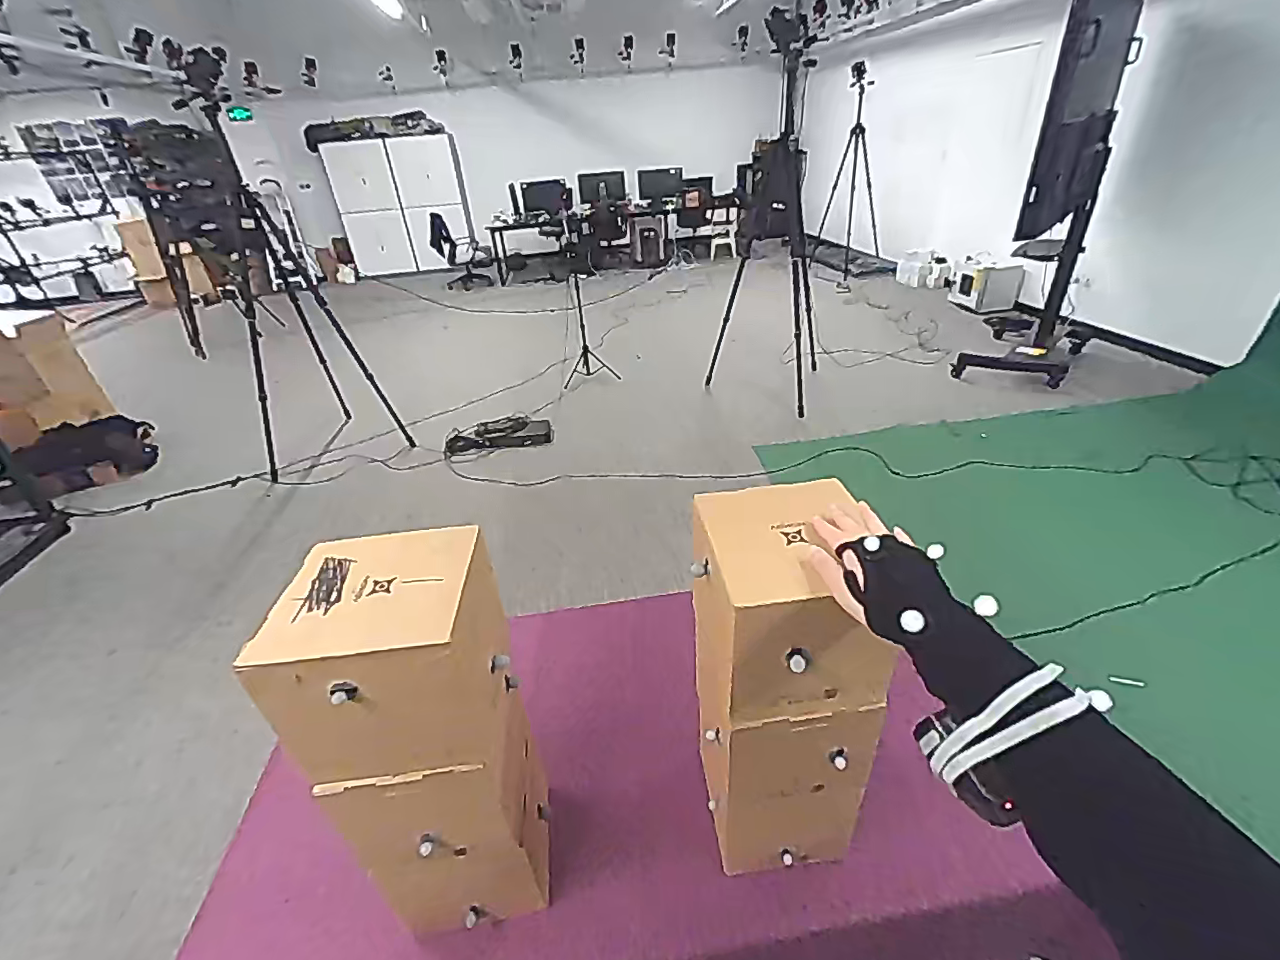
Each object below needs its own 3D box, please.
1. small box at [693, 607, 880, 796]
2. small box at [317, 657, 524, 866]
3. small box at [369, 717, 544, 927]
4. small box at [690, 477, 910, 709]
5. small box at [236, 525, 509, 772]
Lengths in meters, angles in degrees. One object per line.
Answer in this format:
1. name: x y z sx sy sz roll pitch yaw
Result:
1. small box: 0.163 0.257 0.660 0.168 0.176 0.179 -7 32 -4
2. small box: -0.234 0.307 0.633 0.168 0.176 0.179 -8 33 -4
3. small box: -0.223 0.449 0.716 0.179 0.176 0.168 -8 32 -6
4. small box: 0.151 0.120 0.573 0.168 0.176 0.179 -7 32 -4
5. small box: -0.242 0.168 0.546 0.179 0.176 0.168 -6 32 -3
